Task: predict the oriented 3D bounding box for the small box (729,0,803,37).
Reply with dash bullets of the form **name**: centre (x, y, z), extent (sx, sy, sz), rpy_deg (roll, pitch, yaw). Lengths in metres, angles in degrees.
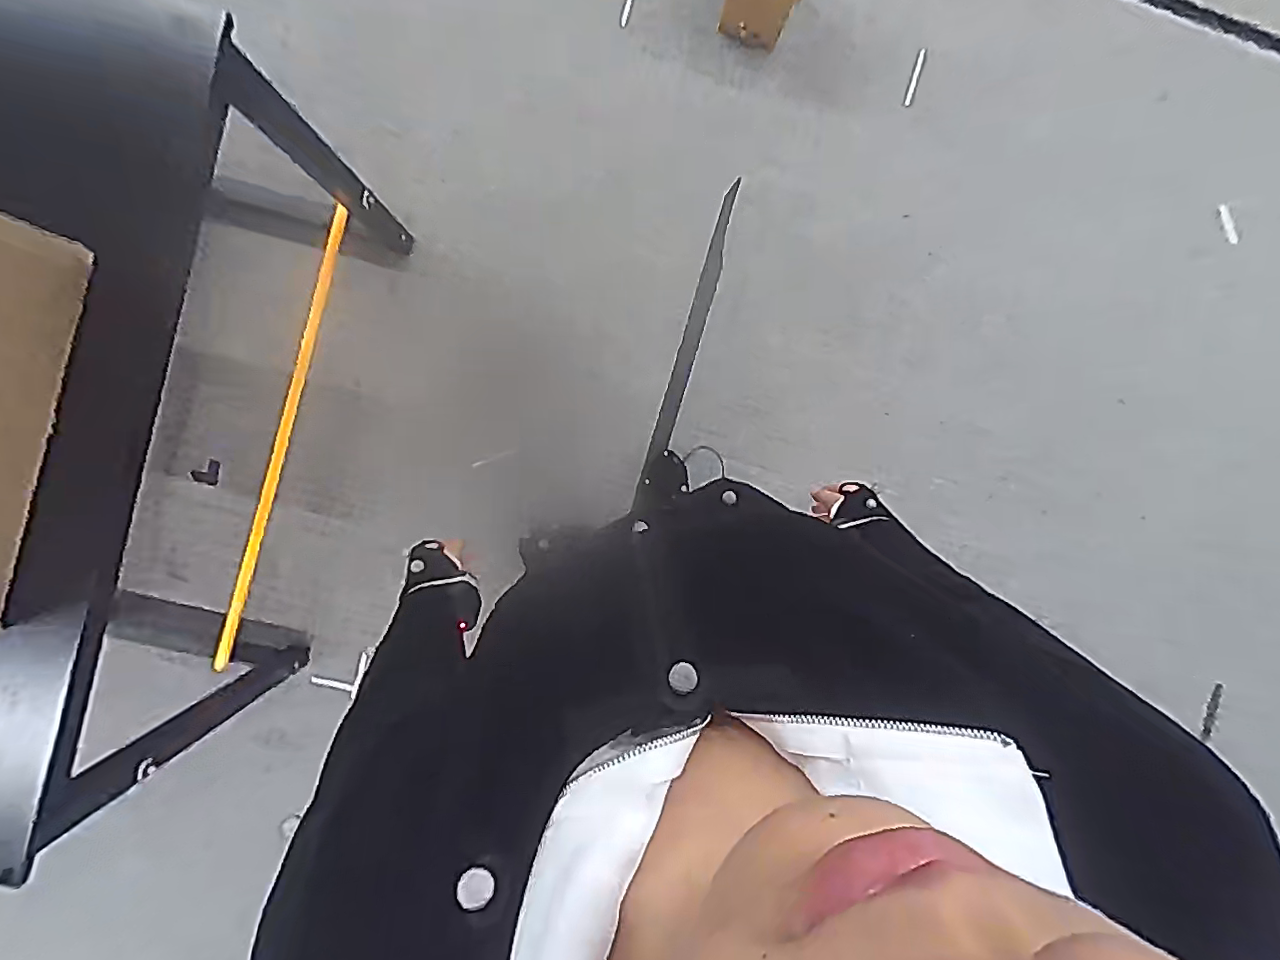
- **small box**: centre (0.322, -1.225, 1.287), extent (0.168, 0.176, 0.179), rpy_deg (15, 93, -4)
